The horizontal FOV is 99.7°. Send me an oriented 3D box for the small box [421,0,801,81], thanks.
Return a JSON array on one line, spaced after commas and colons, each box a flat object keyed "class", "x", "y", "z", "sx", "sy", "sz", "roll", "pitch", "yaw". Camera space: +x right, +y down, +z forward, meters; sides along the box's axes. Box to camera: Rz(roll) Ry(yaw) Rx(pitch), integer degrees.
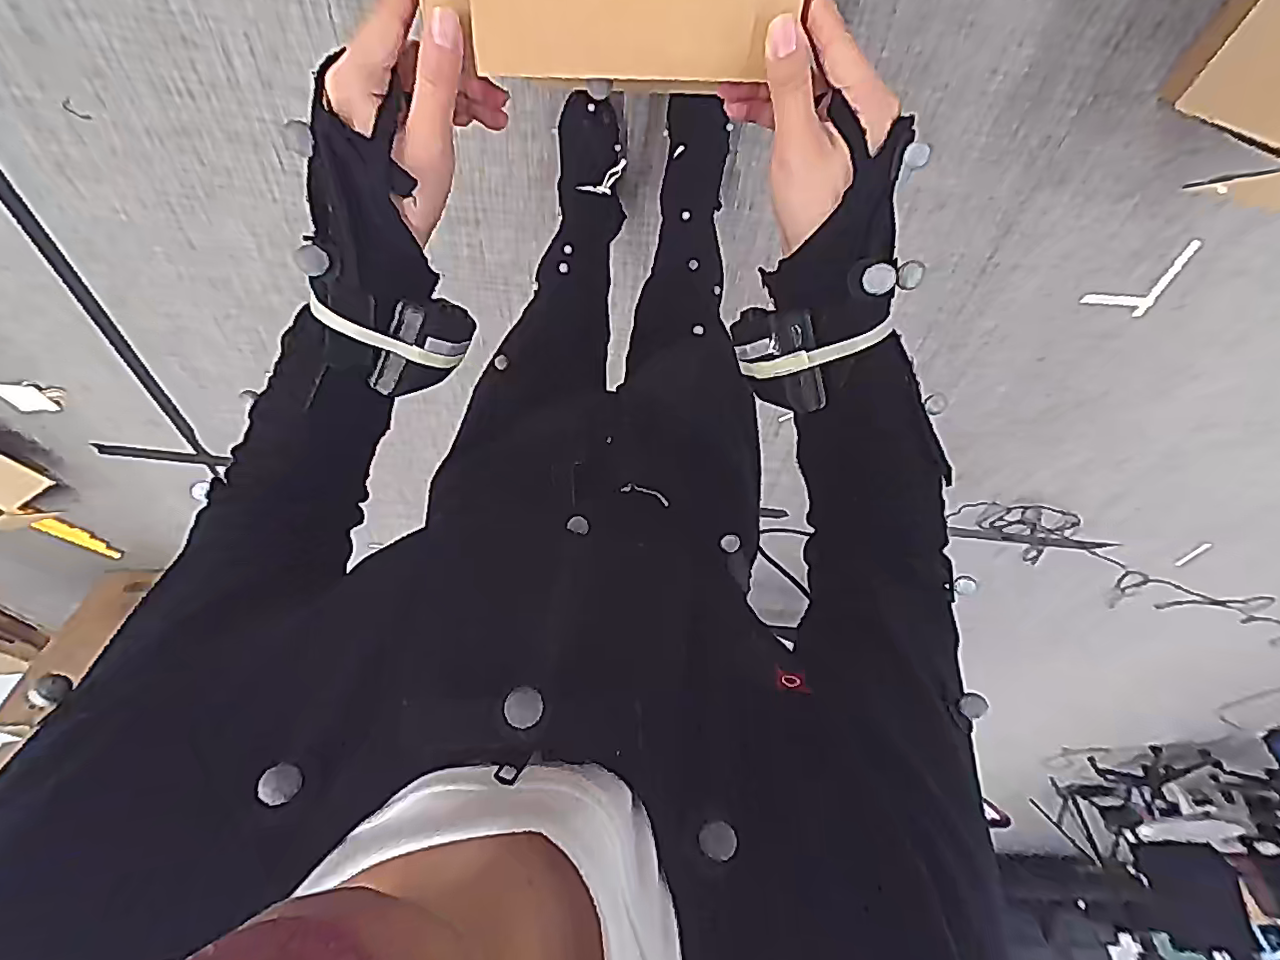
[{"class": "small box", "x": -0.013, "y": -0.313, "z": 0.257, "sx": 0.179, "sy": 0.176, "sz": 0.168, "roll": 0, "pitch": 139, "yaw": -1}]
